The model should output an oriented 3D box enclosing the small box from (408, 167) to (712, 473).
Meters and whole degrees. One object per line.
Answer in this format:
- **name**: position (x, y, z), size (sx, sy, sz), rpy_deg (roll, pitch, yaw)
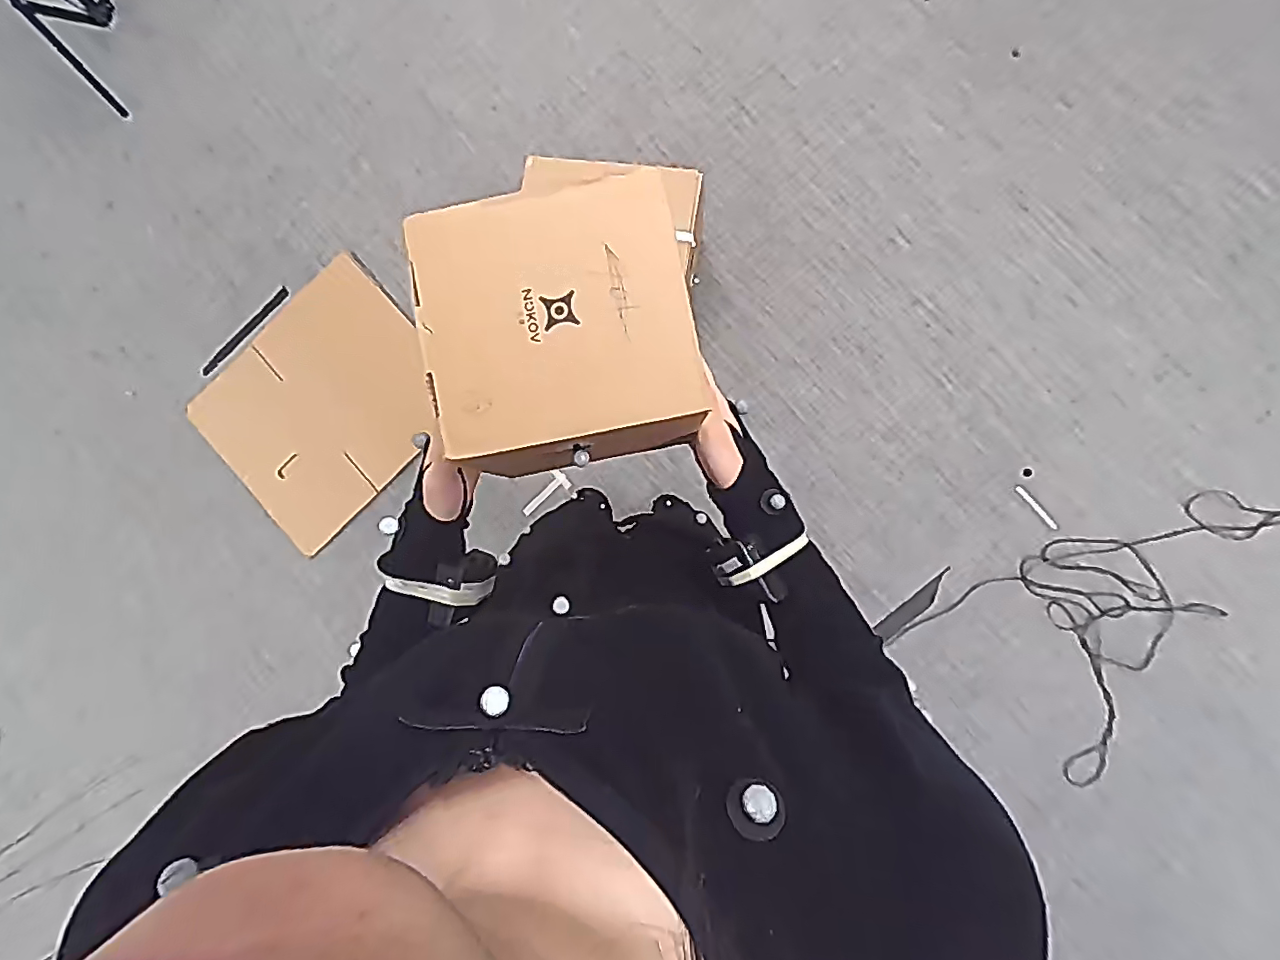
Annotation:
- **small box**: position (-0.051, -0.103, 0.426), size (0.179, 0.176, 0.168), rpy_deg (-11, 87, 0)
